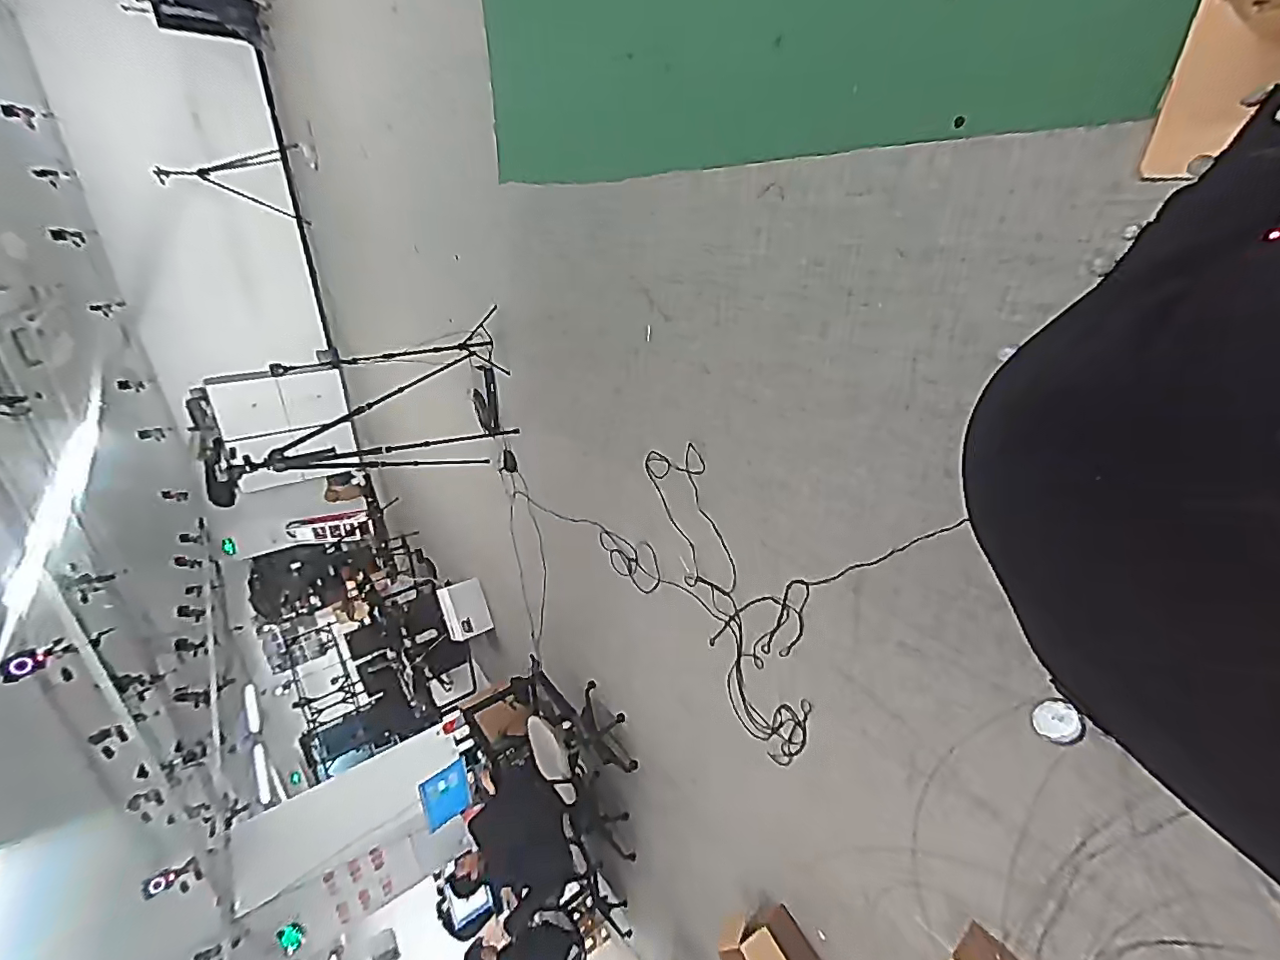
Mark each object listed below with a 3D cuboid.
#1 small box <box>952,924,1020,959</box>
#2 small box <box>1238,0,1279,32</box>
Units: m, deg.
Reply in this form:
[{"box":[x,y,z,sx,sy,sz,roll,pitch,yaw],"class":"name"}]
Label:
[{"box":[1.110,1.599,1.737,0.168,0.176,0.179,26,125,46],"class":"small box"},{"box":[1.002,-0.767,0.753,0.168,0.176,0.179,31,129,47],"class":"small box"}]
